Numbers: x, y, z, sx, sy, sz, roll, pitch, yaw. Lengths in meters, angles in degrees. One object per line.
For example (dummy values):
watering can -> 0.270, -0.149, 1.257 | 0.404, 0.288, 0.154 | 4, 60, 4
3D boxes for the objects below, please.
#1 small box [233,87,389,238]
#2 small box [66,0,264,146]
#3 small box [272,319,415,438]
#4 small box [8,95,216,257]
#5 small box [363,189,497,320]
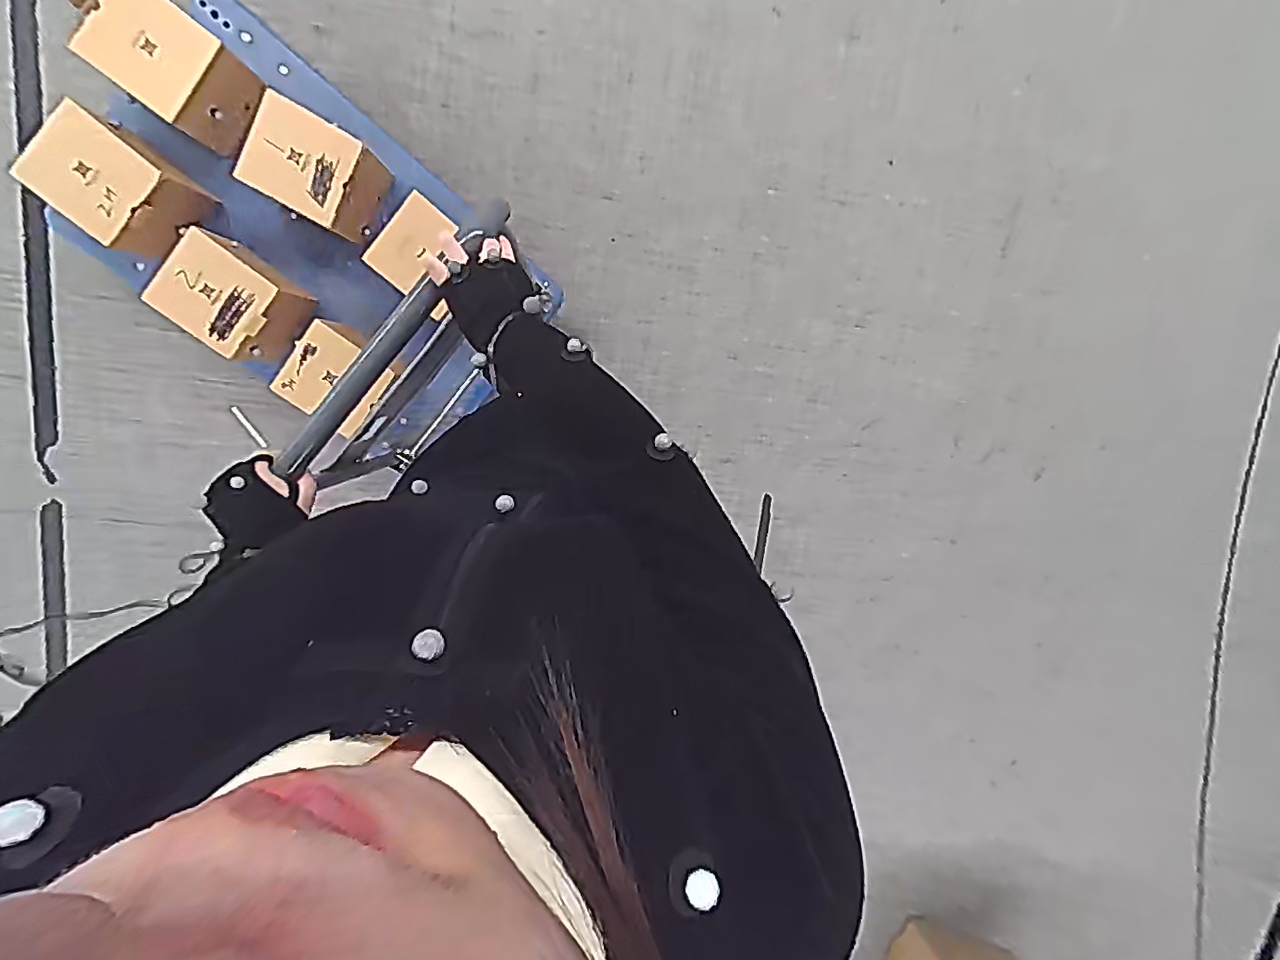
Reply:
small box -> -0.615, -0.589, 1.036 | 0.179, 0.176, 0.168 | 27, 97, -12
small box -> -0.832, -0.742, 0.971 | 0.179, 0.176, 0.168 | 36, 95, -14
small box -> -0.599, -0.211, 1.120 | 0.179, 0.176, 0.168 | 35, 94, -14
small box -> -0.952, -0.541, 0.995 | 0.179, 0.176, 0.168 | 41, 94, -15
small box -> -0.412, -0.443, 1.100 | 0.179, 0.176, 0.168 | 39, 93, -14
